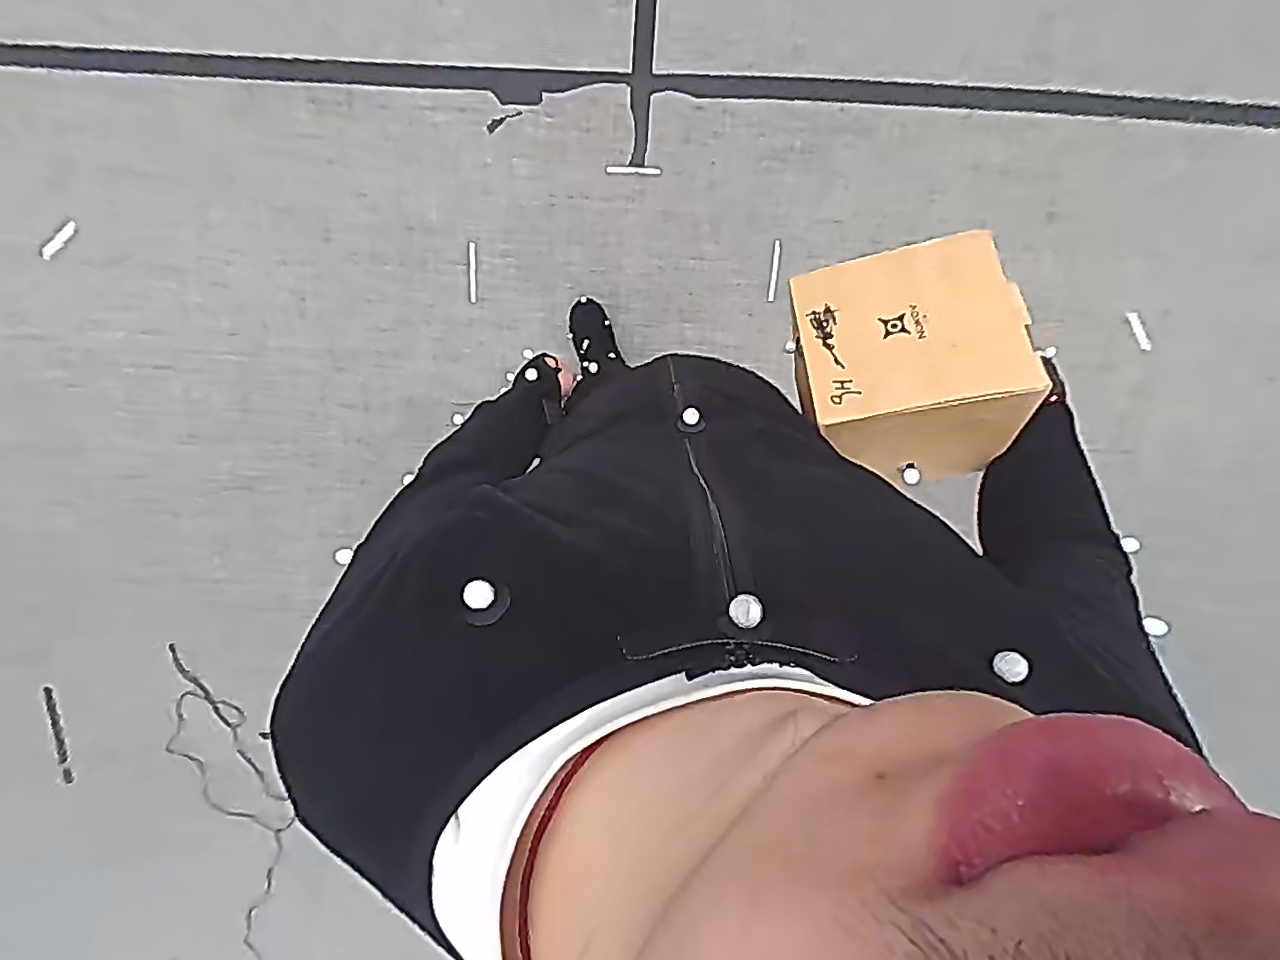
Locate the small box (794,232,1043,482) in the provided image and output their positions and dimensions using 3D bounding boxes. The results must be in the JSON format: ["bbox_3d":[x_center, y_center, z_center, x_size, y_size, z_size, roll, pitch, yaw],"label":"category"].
[{"bbox_3d":[0.258,-0.111,0.552,0.179,0.176,0.168,-9,65,15],"label":"small box"}]
